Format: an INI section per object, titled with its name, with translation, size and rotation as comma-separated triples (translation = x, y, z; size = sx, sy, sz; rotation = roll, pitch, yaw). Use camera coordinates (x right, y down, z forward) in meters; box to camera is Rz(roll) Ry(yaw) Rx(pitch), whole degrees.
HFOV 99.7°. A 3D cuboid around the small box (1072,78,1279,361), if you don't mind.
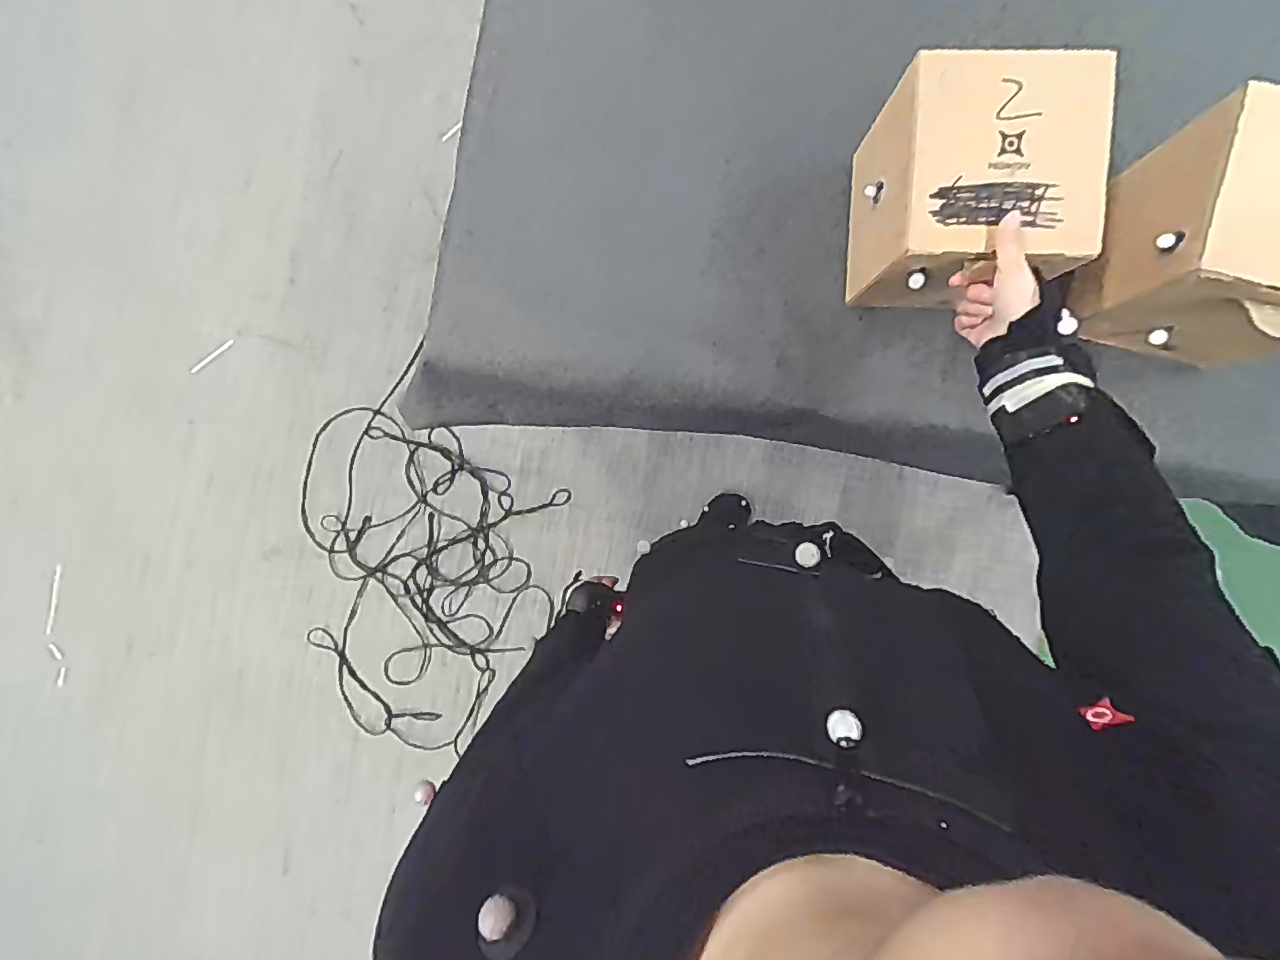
[small box]
translation = 0.583, -0.238, 0.538
size = 0.168, 0.176, 0.179
rotation = 15, 89, 3
